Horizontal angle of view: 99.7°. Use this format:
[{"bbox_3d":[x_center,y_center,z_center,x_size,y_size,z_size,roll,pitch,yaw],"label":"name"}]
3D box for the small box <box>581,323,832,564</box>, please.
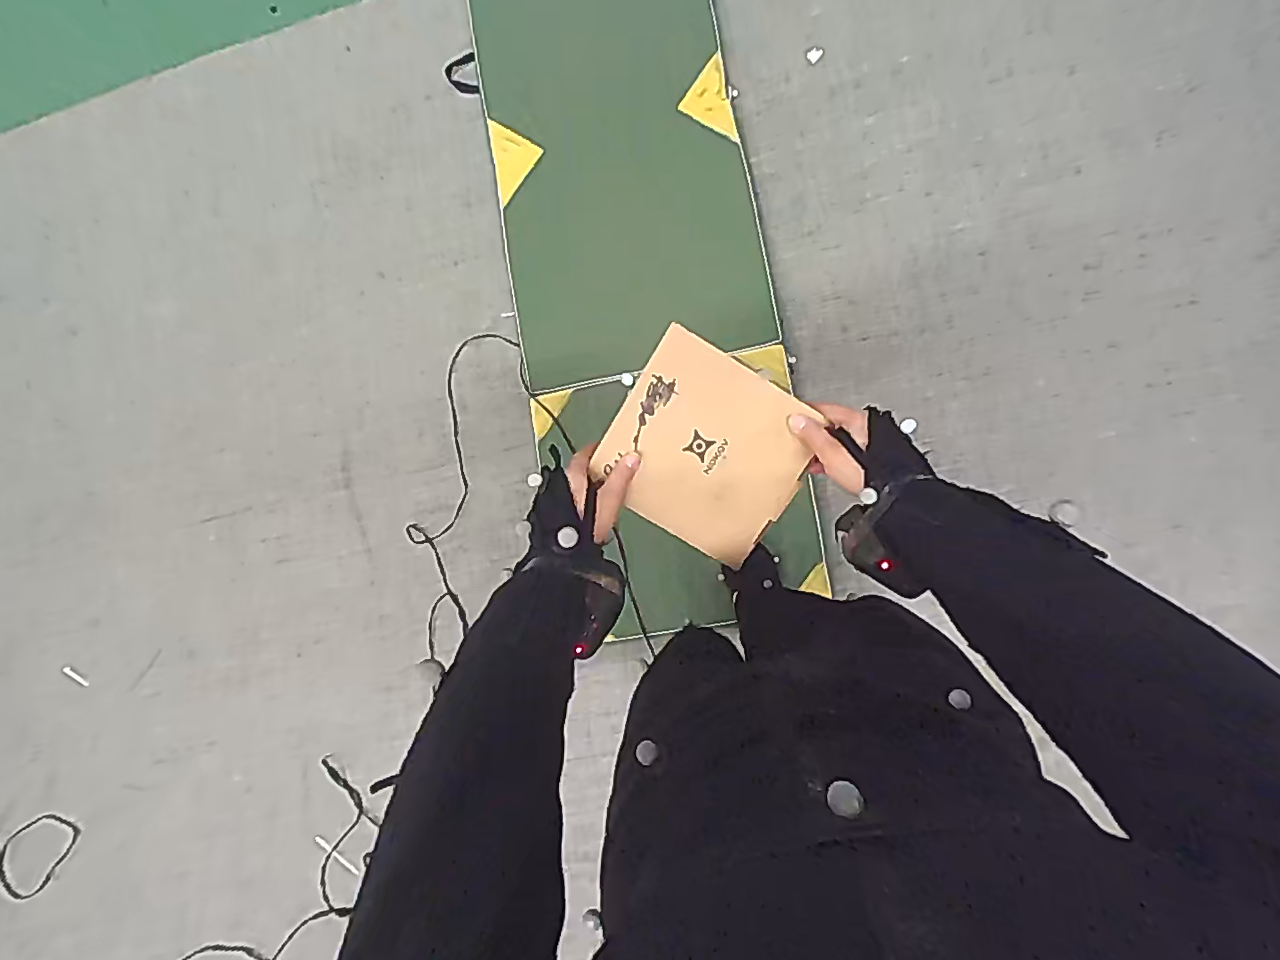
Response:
[{"bbox_3d":[0.061,-0.046,0.571,0.179,0.176,0.168,31,100,-6],"label":"small box"}]
